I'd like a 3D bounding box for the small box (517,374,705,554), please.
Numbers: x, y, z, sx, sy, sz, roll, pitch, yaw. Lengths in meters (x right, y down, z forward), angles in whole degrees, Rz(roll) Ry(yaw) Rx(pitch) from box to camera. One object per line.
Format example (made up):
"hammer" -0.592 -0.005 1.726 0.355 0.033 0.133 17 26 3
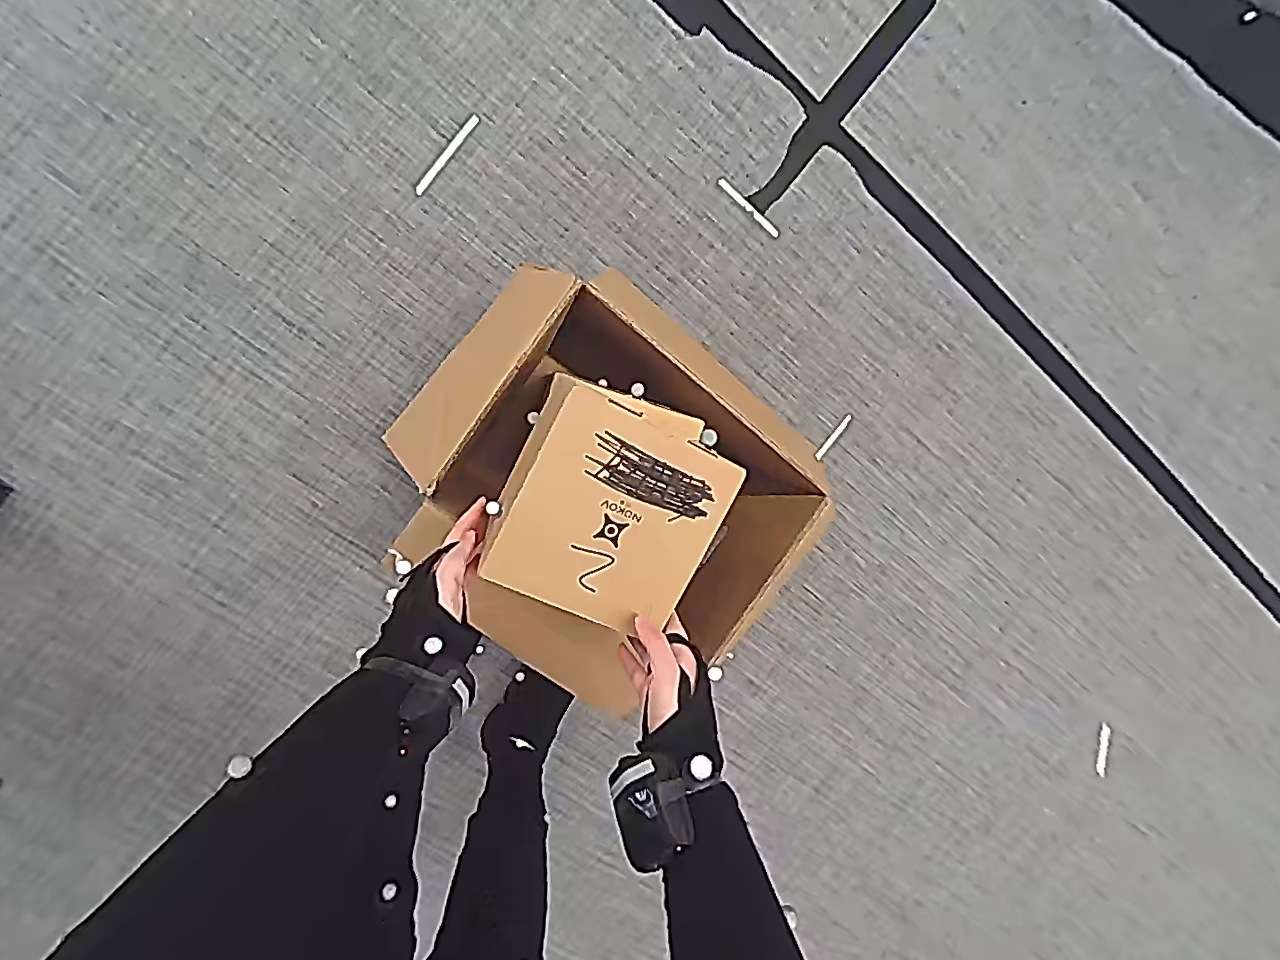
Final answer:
"small box" -0.047 -0.027 0.679 0.179 0.176 0.168 16 98 -15
